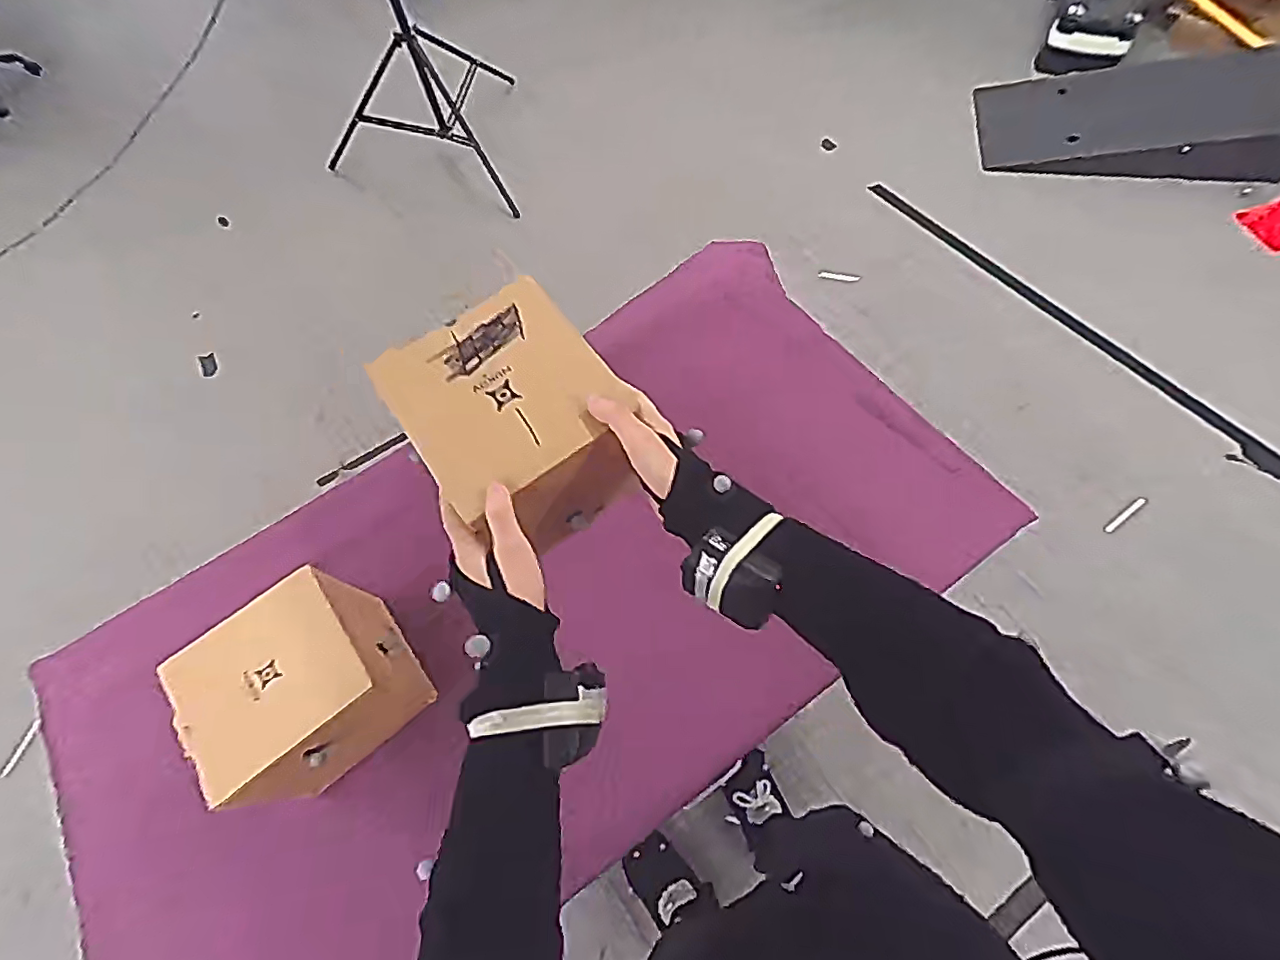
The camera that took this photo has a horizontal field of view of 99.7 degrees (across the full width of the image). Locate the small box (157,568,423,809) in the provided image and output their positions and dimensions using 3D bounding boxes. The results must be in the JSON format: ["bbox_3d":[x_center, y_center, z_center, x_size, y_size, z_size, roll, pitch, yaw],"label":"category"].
[{"bbox_3d":[-0.379,0.233,0.623,0.179,0.176,0.168,-38,69,-12],"label":"small box"}]

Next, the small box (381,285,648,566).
[{"bbox_3d":[-0.106,-0.042,0.525,0.168,0.176,0.179,-35,71,-11],"label":"small box"}]
